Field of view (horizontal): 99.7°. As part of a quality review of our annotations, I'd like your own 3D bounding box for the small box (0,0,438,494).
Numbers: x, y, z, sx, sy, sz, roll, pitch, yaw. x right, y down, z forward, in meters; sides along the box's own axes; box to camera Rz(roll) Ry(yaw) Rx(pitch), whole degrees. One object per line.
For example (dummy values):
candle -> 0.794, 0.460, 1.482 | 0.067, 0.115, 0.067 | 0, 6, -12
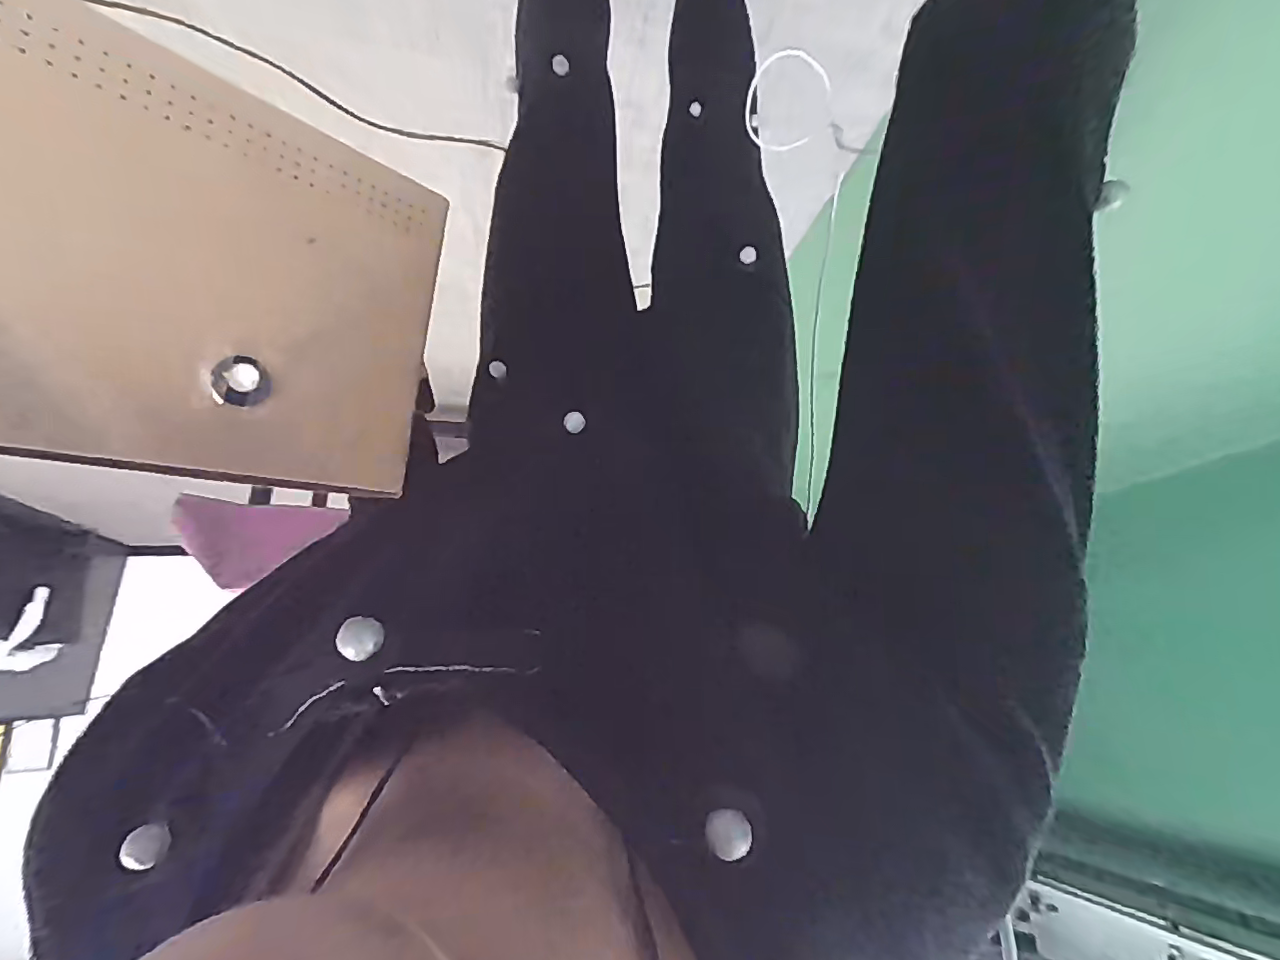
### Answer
small box -> -0.227, -0.091, 0.277 | 0.168, 0.176, 0.179 | 3, 173, 43
